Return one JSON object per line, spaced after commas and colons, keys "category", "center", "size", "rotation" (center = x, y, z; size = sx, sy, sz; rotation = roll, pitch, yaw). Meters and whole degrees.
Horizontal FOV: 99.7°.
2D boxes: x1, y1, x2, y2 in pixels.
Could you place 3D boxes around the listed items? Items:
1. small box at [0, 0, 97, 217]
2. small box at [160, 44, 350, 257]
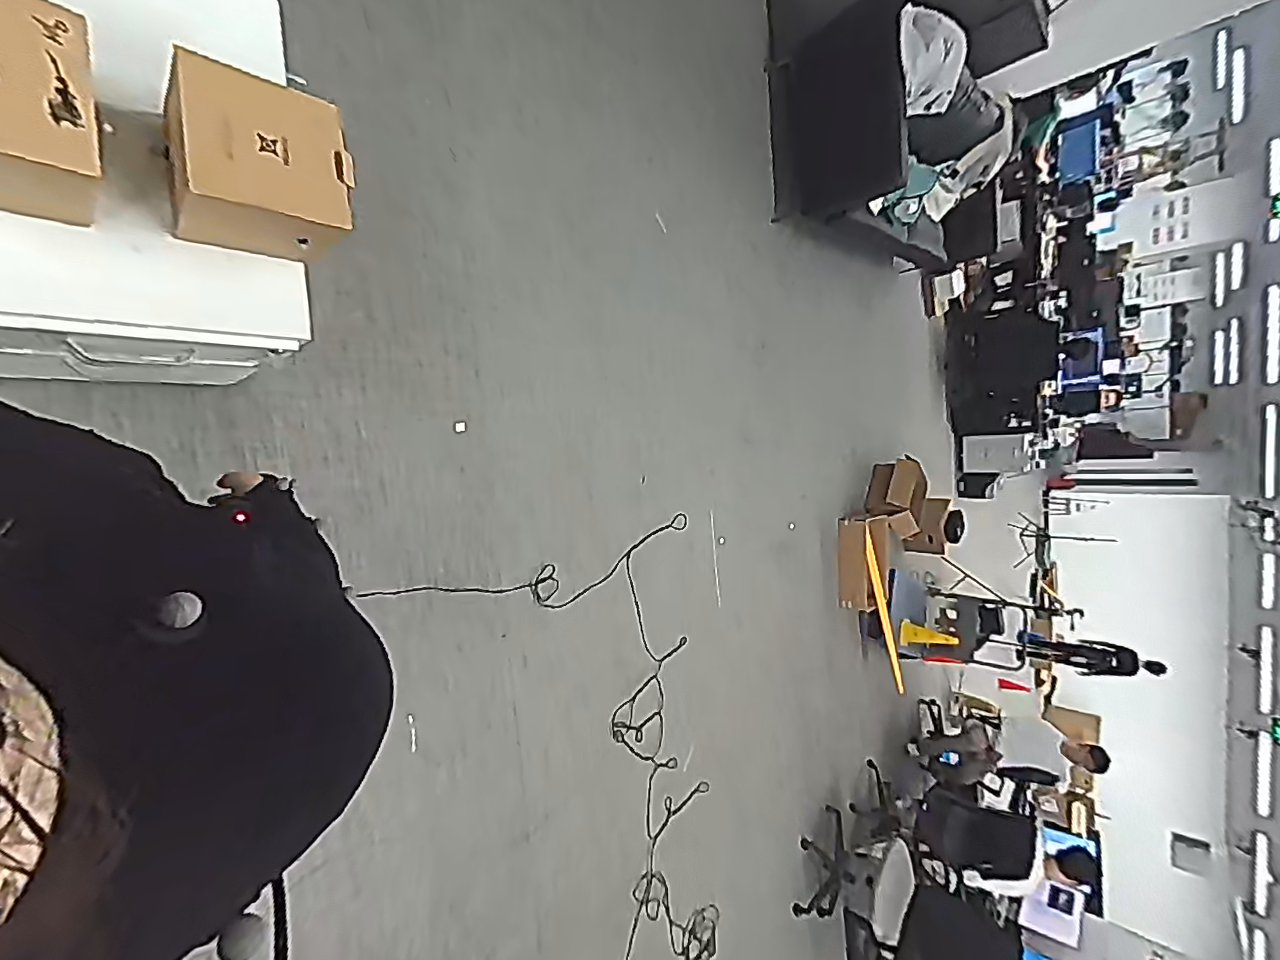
{"category": "small box", "center": [-0.680, -0.391, 0.545], "size": [0.179, 0.176, 0.168], "rotation": [-6, 95, -48]}
{"category": "small box", "center": [-0.515, -0.416, 0.725], "size": [0.179, 0.176, 0.168], "rotation": [-6, 94, -45]}
